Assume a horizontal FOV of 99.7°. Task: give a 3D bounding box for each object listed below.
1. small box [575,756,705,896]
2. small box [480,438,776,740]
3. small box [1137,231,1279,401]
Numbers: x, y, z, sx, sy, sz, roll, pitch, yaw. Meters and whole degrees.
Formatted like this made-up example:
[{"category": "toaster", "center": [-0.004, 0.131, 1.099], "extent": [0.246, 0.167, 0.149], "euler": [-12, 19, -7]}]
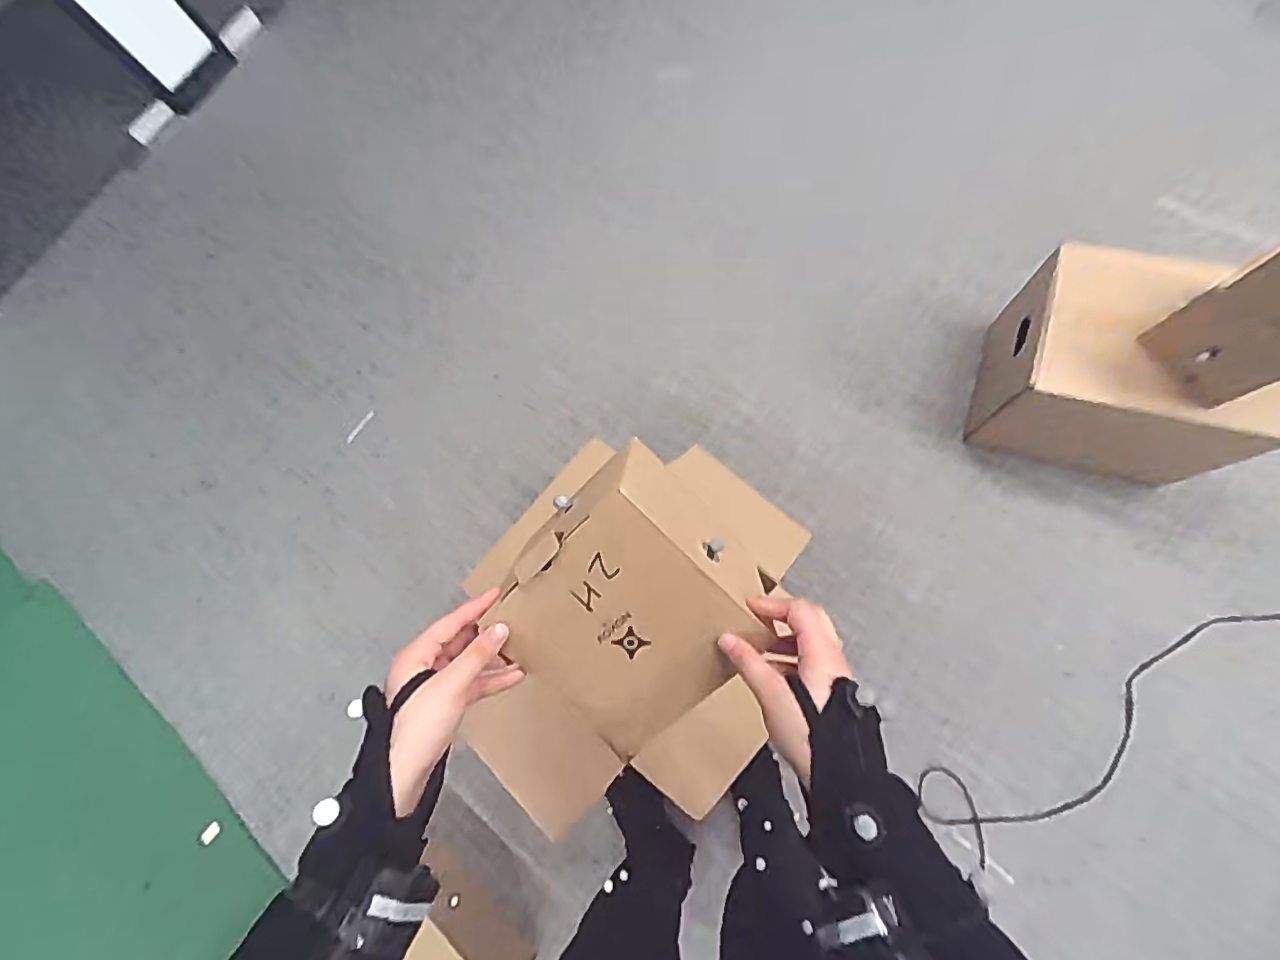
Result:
[{"category": "small box", "center": [0.006, 0.673, 1.066], "extent": [0.176, 0.168, 0.179], "euler": [34, 55, -11]}, {"category": "small box", "center": [-0.005, 0.085, 0.497], "extent": [0.179, 0.176, 0.168], "euler": [44, 104, -10]}, {"category": "small box", "center": [0.963, -0.255, 0.865], "extent": [0.179, 0.176, 0.168], "euler": [-33, 73, 1]}]
